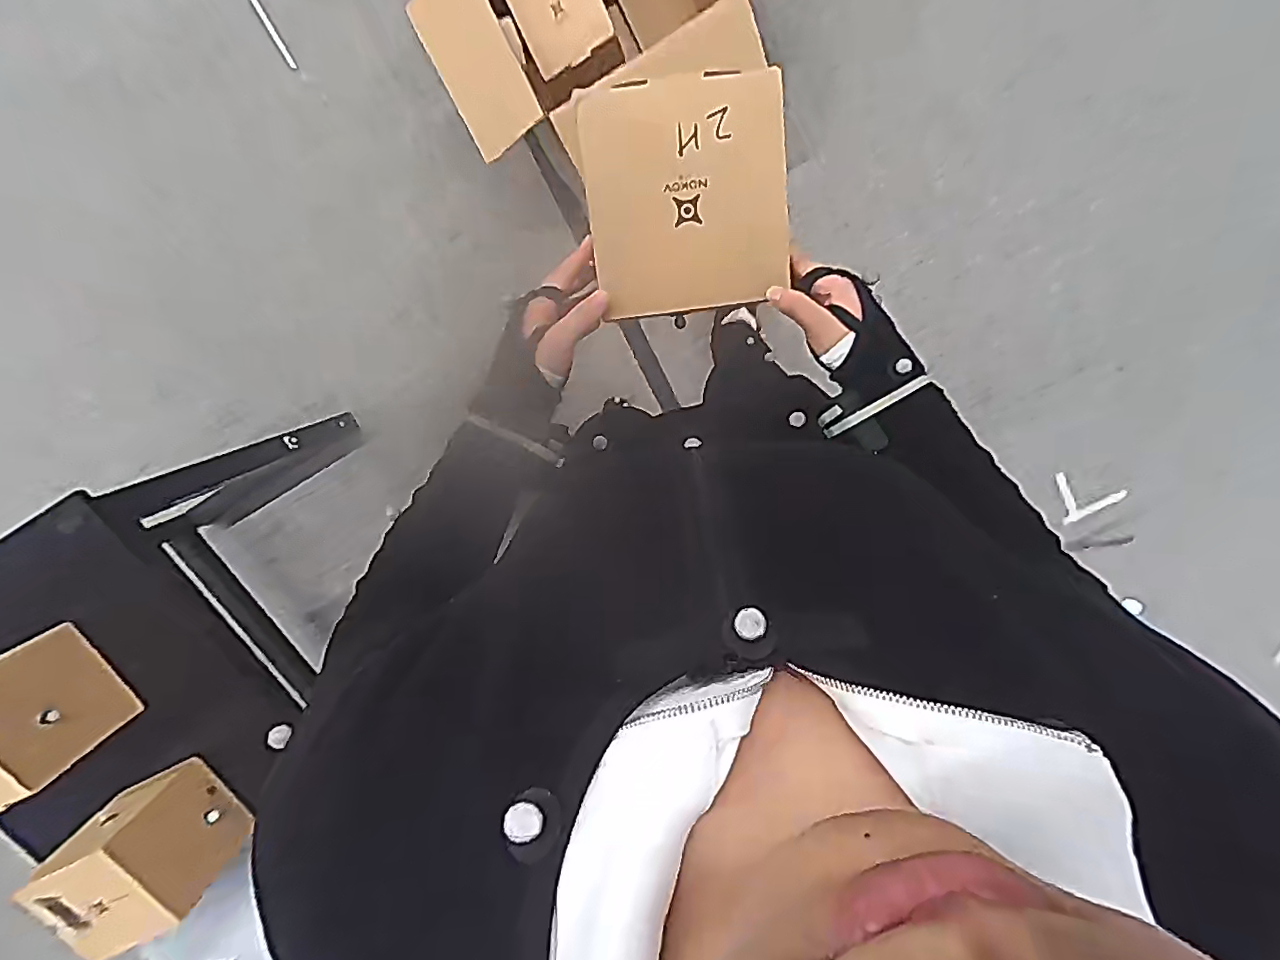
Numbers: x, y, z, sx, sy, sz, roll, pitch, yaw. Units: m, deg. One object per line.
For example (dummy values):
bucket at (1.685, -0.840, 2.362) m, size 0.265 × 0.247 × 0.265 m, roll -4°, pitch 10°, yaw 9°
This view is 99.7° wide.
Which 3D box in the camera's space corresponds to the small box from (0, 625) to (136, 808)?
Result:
small box at (-0.905, 0.345, 0.778) m, size 0.168 × 0.176 × 0.179 m, roll -24°, pitch 106°, yaw 9°

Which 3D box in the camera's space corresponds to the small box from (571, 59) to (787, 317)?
small box at (0.034, -0.255, 0.518) m, size 0.168 × 0.176 × 0.179 m, roll -8°, pitch 105°, yaw -1°

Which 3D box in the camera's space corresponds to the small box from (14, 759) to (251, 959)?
small box at (-0.774, 0.584, 0.848) m, size 0.179 × 0.176 × 0.168 m, roll -27°, pitch 105°, yaw 9°
